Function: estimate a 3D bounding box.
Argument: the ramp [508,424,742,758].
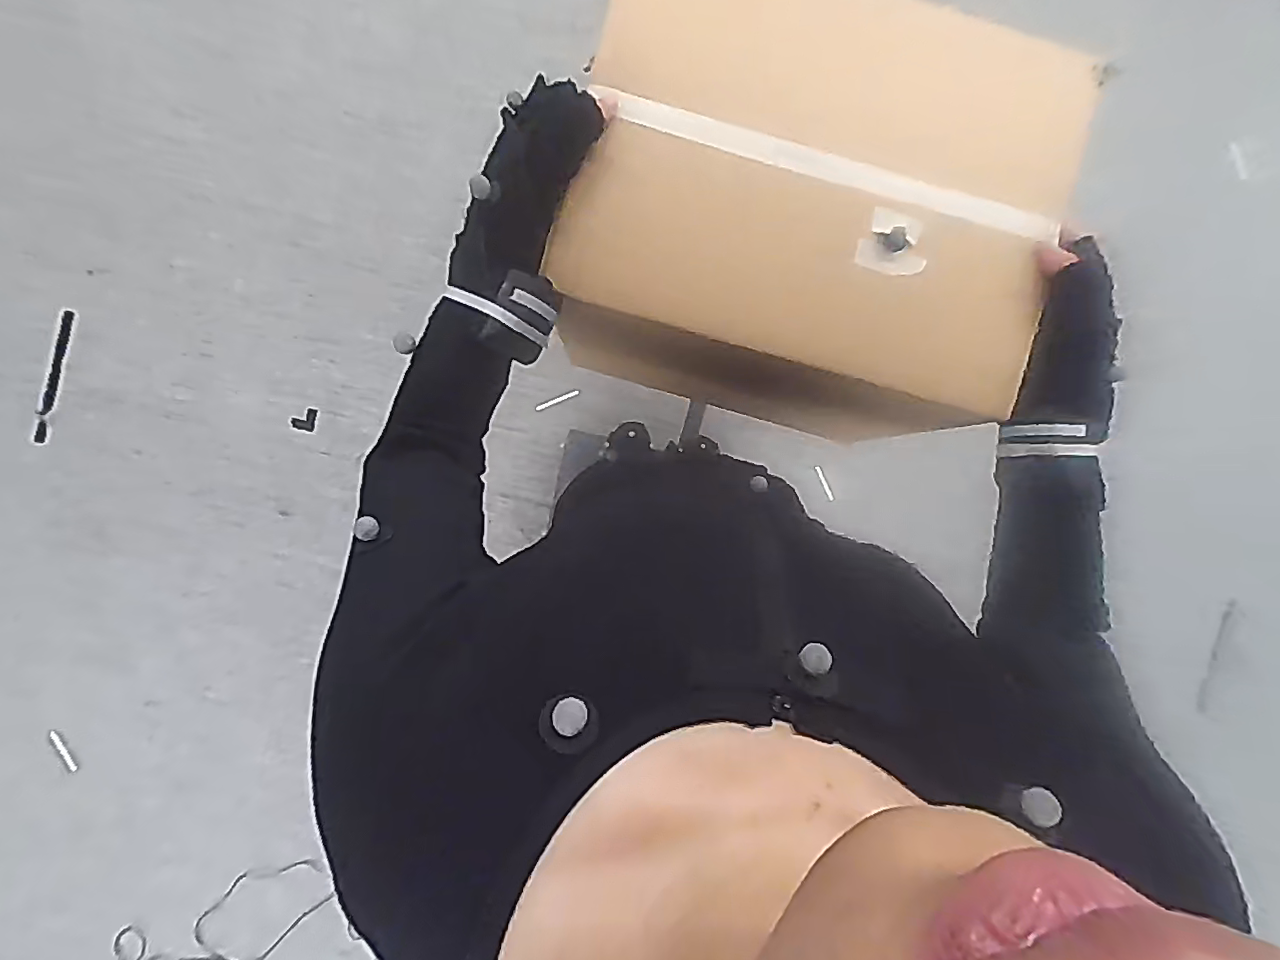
[{"bbox_3d":[-0.065,0.368,1.600,0.509,0.206,0.991,12,94,-3],"label":"ramp"}]

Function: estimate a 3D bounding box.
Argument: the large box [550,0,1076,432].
[{"bbox_3d":[0.143,-0.260,0.605,0.408,0.320,0.320,15,90,-3],"label":"large box"}]
